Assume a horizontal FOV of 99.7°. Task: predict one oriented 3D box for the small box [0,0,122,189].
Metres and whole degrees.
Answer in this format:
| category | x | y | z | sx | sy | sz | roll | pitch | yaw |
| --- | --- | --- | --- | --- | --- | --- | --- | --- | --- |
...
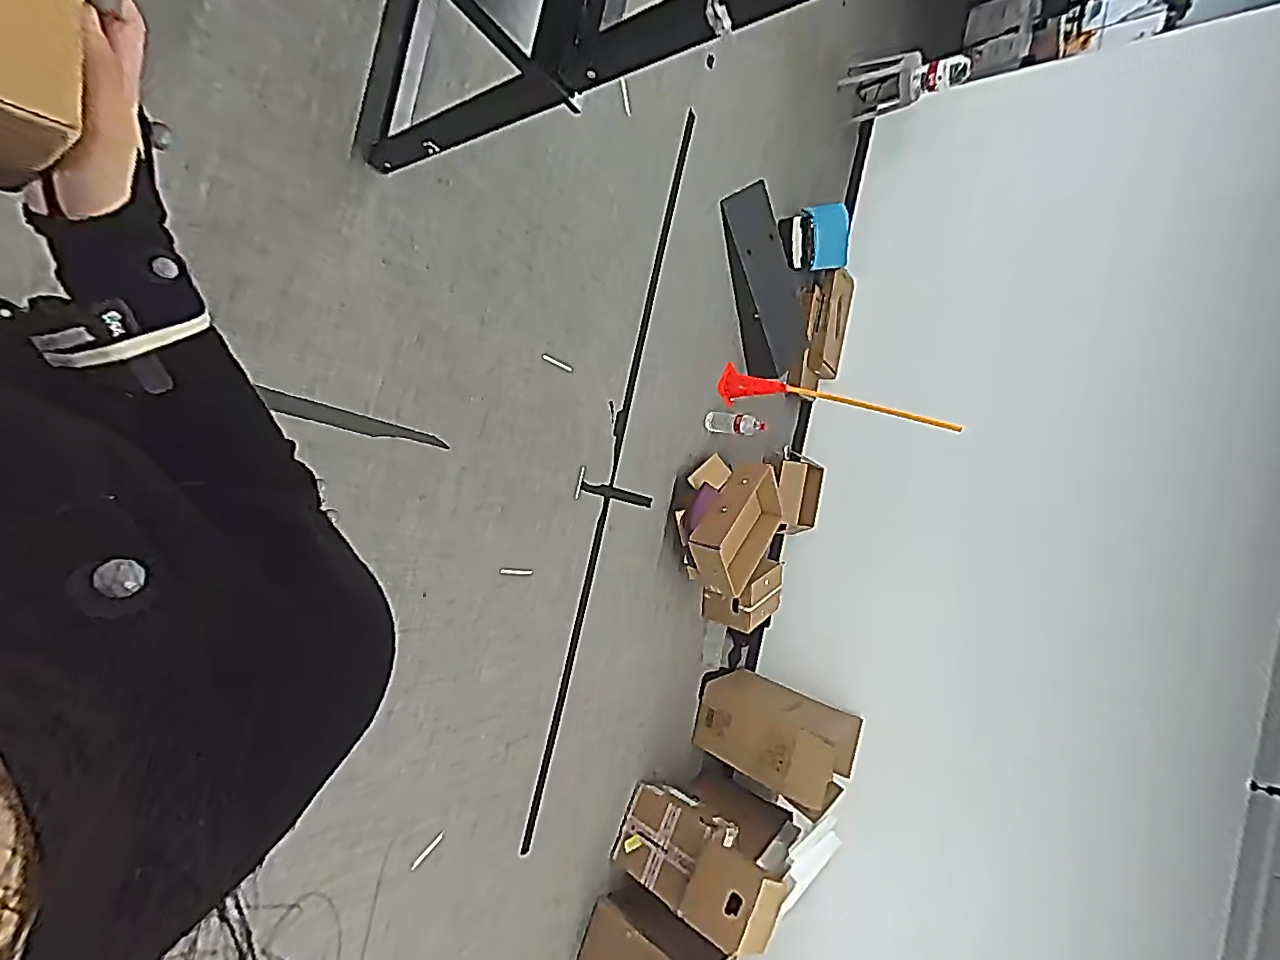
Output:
| category | x | y | z | sx | sy | sz | roll | pitch | yaw |
| --- | --- | --- | --- | --- | --- | --- | --- | --- | --- |
| small box | -0.334 | -0.246 | 0.211 | 0.168 | 0.176 | 0.179 | 0 | 99 | -55 |
